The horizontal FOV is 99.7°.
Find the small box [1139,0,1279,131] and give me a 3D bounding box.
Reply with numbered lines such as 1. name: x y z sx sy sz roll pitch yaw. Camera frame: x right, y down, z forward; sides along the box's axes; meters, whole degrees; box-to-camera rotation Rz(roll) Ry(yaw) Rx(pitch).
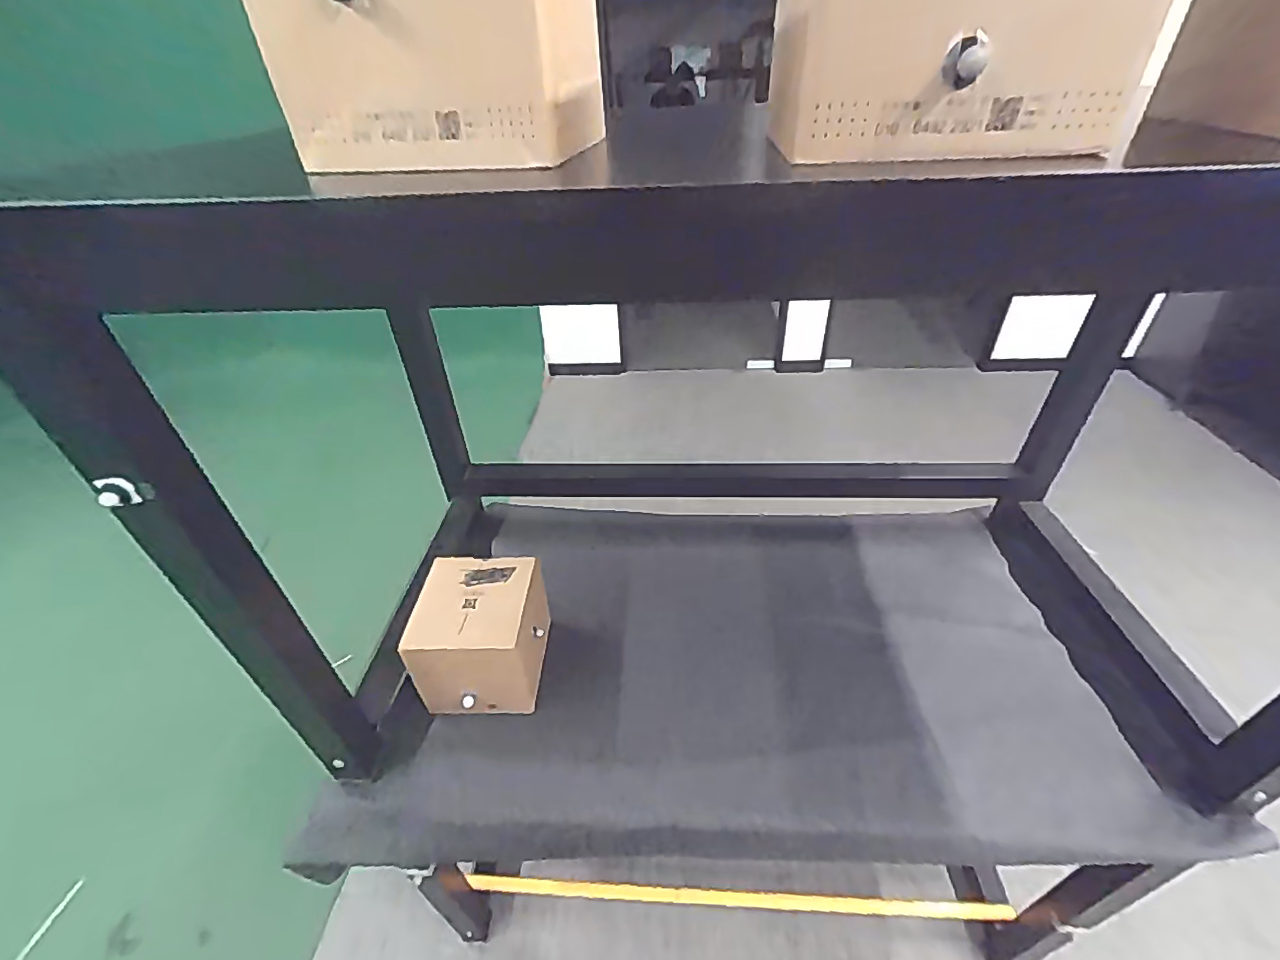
1. small box: 0.441 -0.294 0.294 0.168 0.176 0.179 6 37 11

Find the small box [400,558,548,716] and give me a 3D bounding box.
1. small box: -0.244 0.243 0.847 0.168 0.176 0.179 -1 37 2

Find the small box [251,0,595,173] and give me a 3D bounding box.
1. small box: -0.129 -0.308 0.360 0.168 0.176 0.179 2 36 7
